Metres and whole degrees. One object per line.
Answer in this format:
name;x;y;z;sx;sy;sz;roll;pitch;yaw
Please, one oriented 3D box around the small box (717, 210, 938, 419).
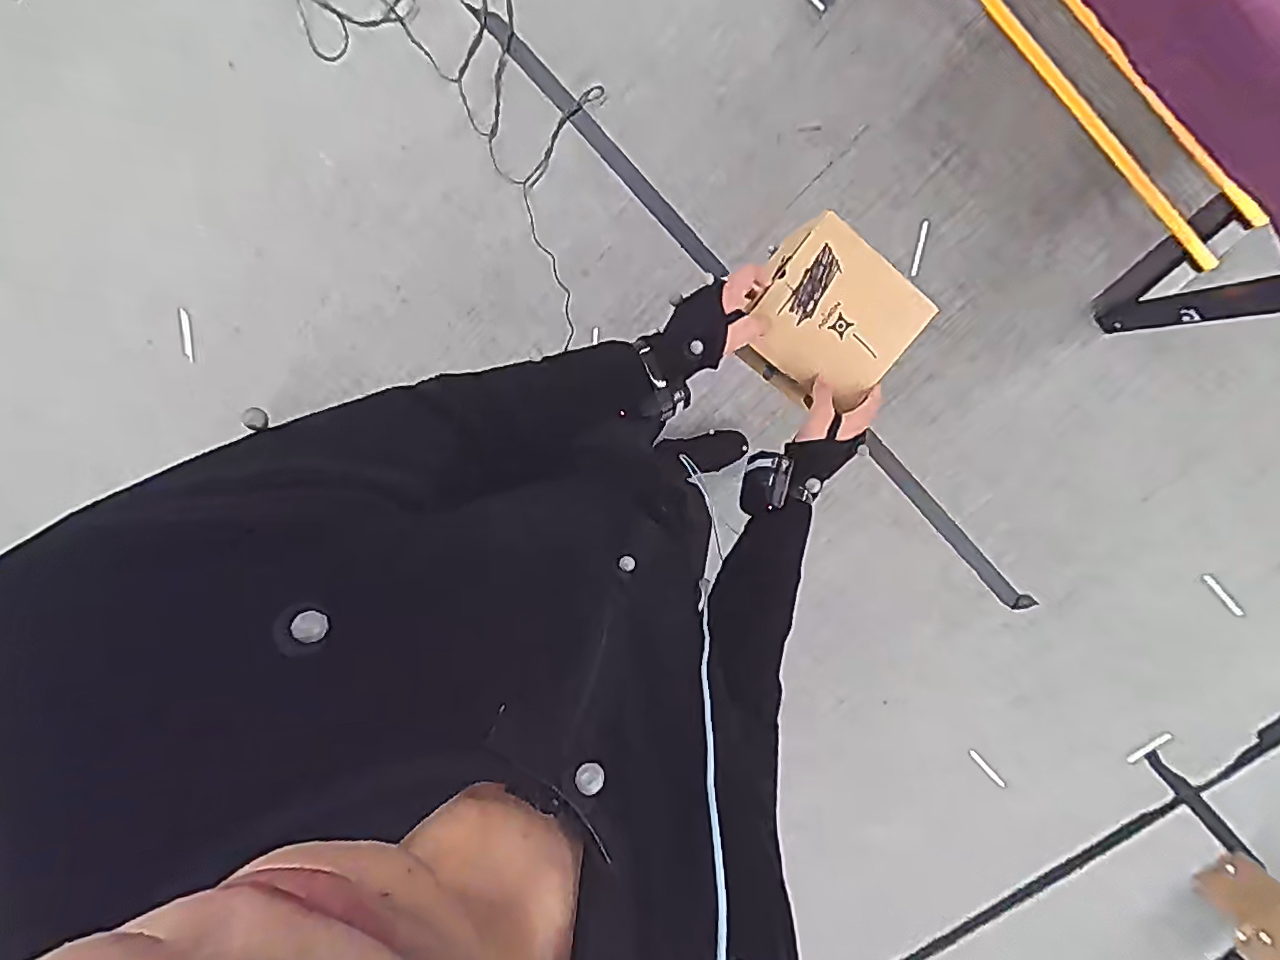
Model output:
small box;0.221;-0.201;0.689;0.179;0.176;0.168;36;101;-11
